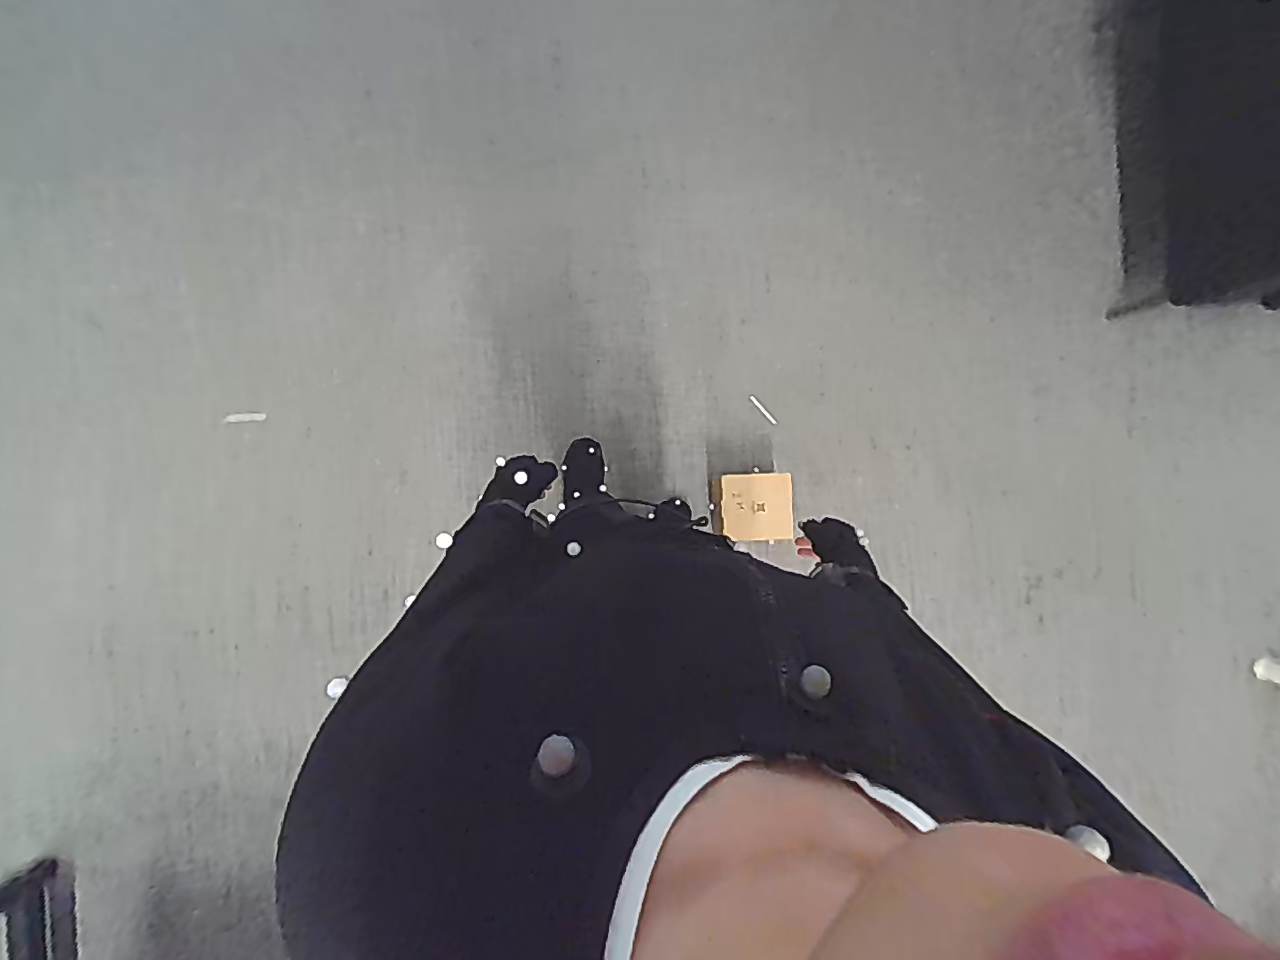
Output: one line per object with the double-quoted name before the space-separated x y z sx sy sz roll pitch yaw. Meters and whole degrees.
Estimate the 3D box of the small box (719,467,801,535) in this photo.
"small box" 0.304 0.049 1.398 0.179 0.176 0.168 -2 90 0
